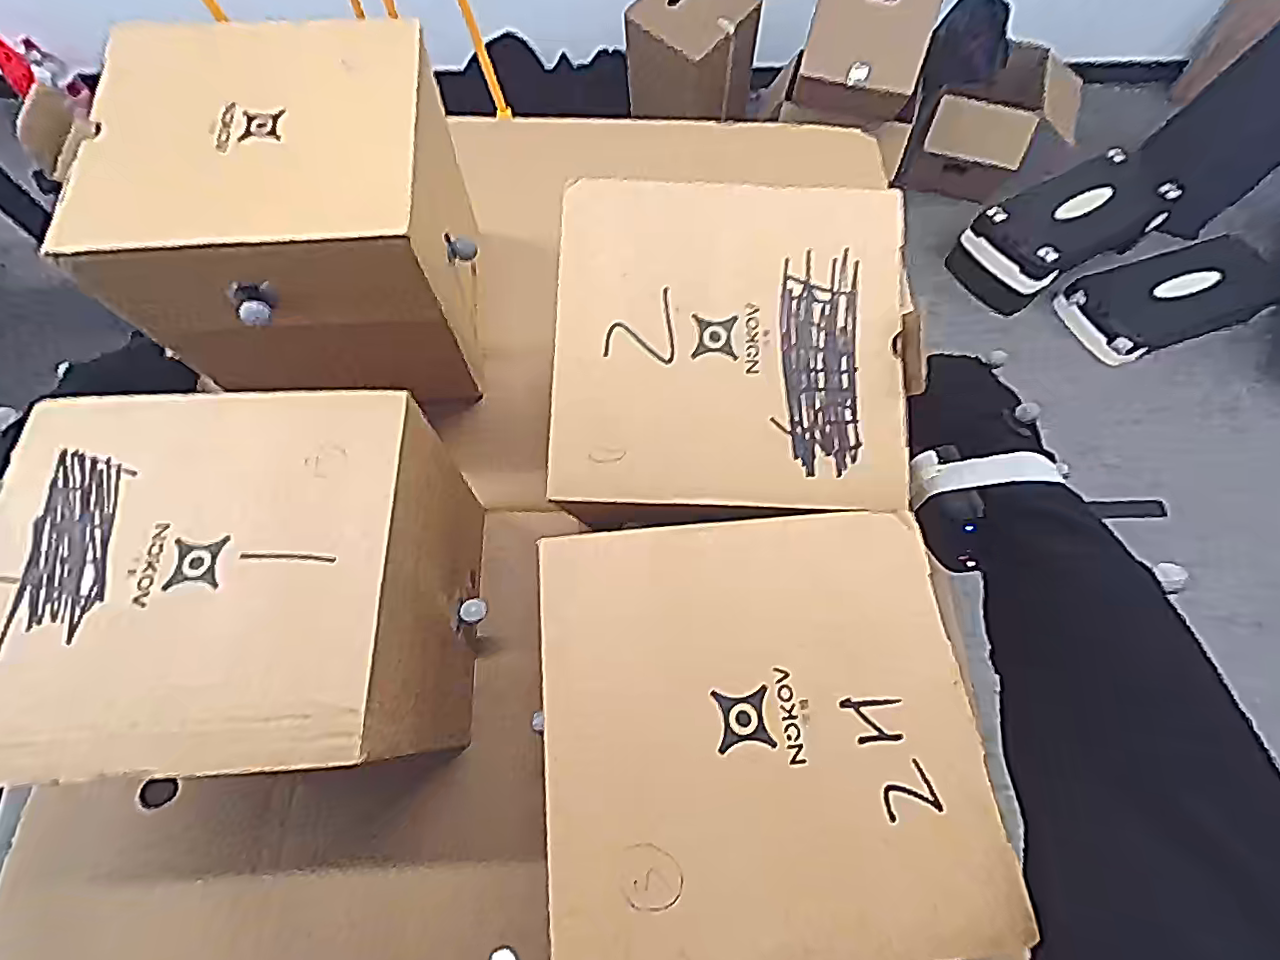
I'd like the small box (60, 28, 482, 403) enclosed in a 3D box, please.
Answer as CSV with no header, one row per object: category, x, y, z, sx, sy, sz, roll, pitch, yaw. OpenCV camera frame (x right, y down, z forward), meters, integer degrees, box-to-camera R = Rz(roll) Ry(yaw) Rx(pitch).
small box,-0.214,-0.166,0.376,0.179,0.176,0.168,-5,70,-3
